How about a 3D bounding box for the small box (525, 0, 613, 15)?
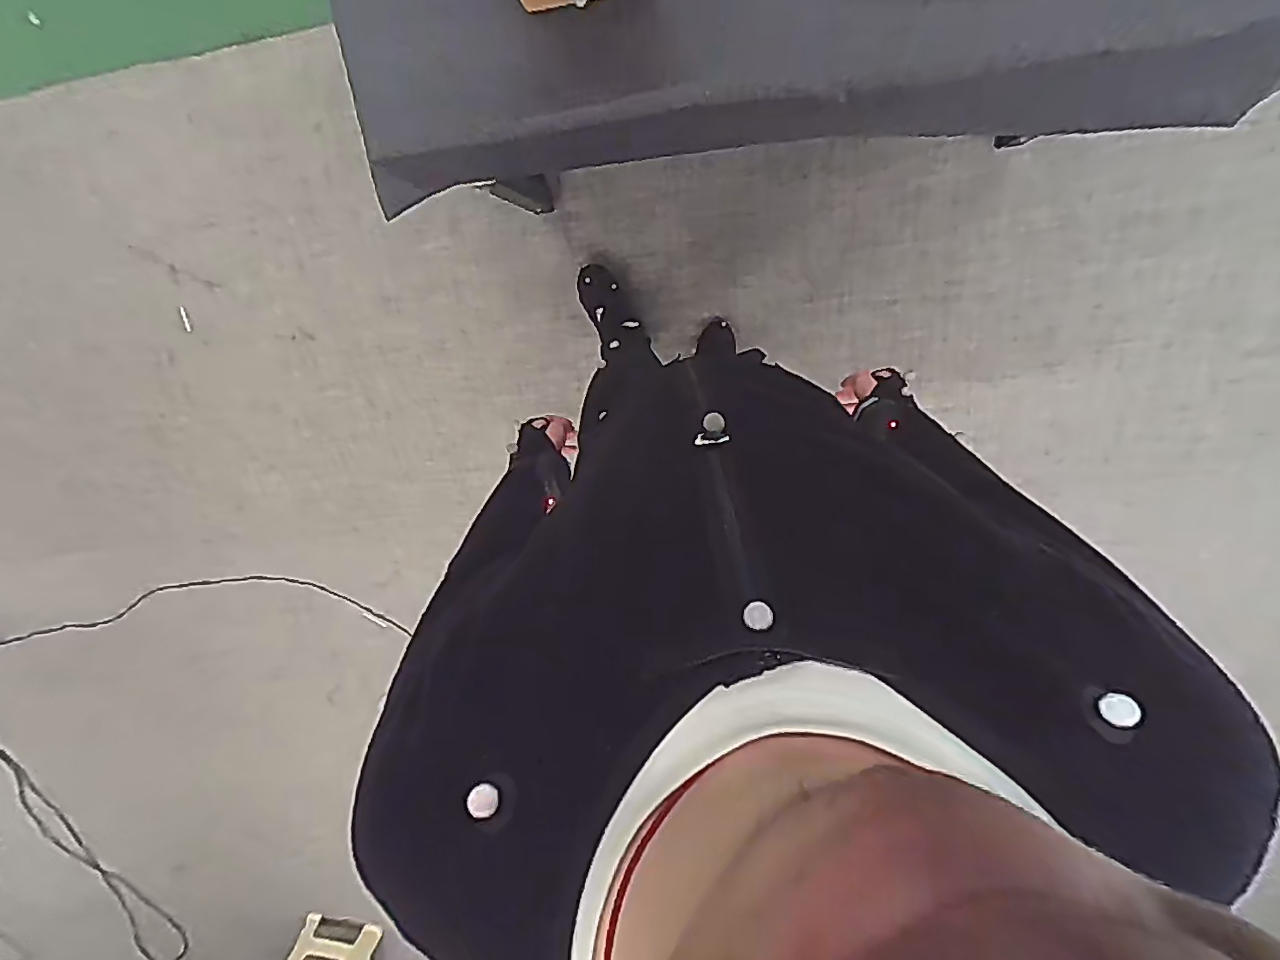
[{"bbox_3d":[-0.077,-0.621,0.540,0.168,0.176,0.179,-4,109,10],"label":"small box"}]
